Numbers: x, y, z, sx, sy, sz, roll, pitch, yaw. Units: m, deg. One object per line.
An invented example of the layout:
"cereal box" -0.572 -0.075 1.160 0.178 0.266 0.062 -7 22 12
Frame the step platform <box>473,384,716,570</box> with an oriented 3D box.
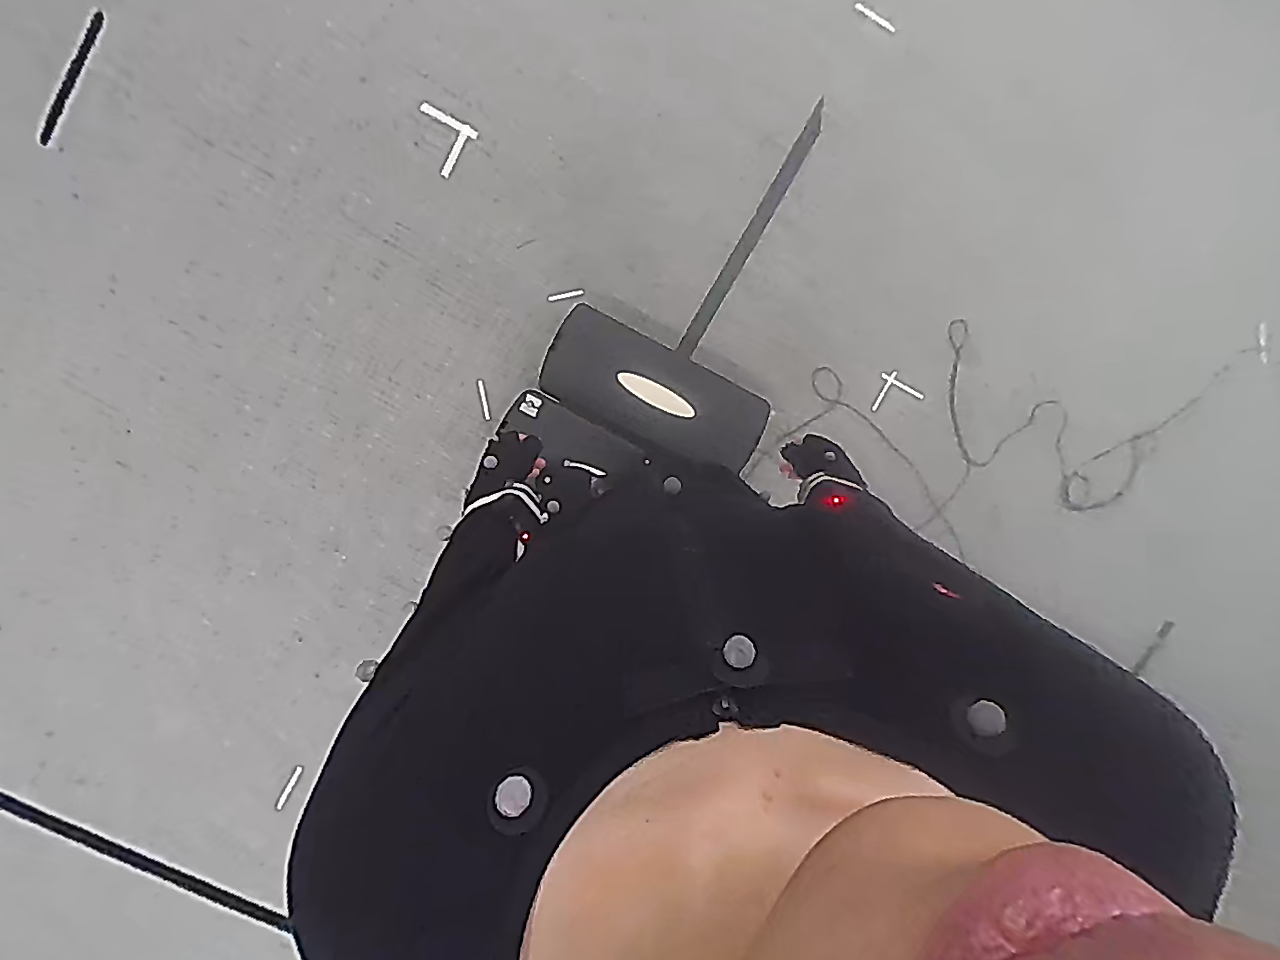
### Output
"step platform" -0.125 -0.008 1.568 0.684 0.204 0.286 27 93 -4
